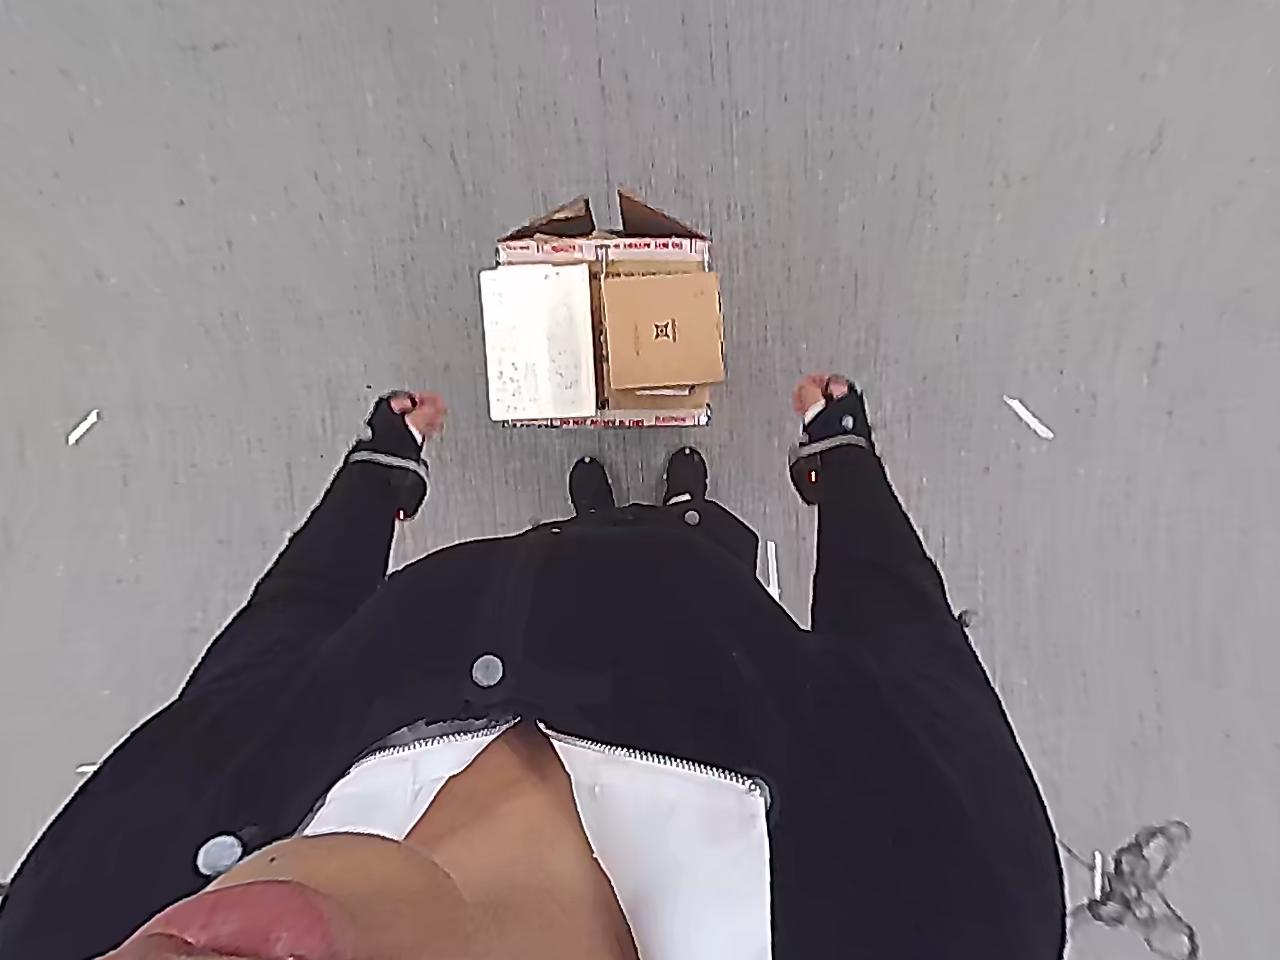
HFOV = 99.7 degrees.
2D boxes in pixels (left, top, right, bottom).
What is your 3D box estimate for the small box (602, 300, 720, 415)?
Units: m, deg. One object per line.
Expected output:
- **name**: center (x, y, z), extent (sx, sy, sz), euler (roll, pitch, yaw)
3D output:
- **small box**: center (0.032, -0.198, 0.907), extent (0.179, 0.176, 0.168), euler (-5, 96, 1)
